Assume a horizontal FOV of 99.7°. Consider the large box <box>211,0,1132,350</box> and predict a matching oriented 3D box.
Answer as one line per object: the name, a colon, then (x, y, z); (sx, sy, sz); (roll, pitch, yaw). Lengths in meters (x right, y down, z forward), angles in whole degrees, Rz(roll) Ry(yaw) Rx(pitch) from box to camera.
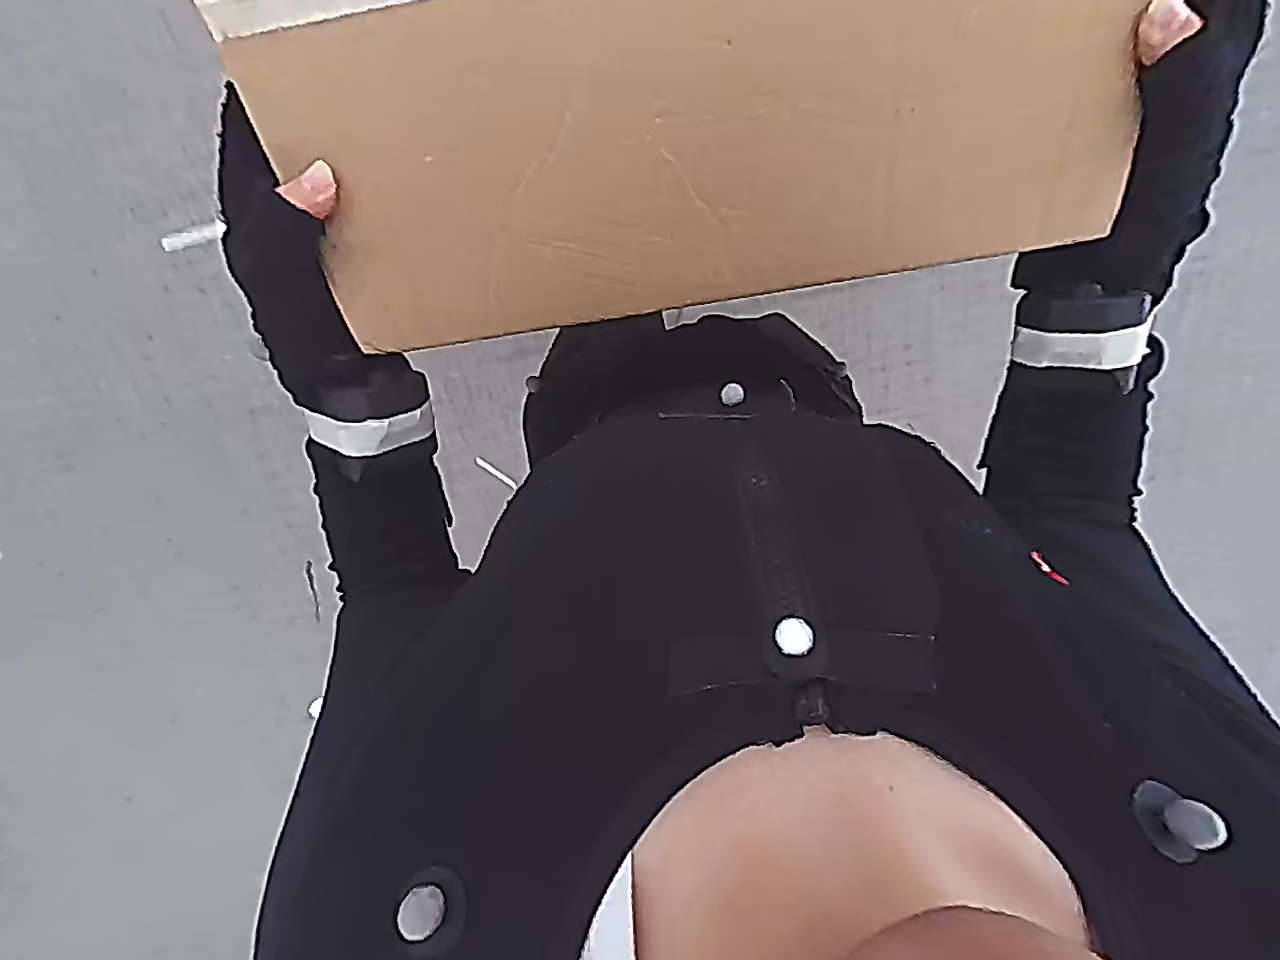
large box: (0.011, -0.314, 0.343); (0.408, 0.320, 0.320); (-8, 123, 5)
